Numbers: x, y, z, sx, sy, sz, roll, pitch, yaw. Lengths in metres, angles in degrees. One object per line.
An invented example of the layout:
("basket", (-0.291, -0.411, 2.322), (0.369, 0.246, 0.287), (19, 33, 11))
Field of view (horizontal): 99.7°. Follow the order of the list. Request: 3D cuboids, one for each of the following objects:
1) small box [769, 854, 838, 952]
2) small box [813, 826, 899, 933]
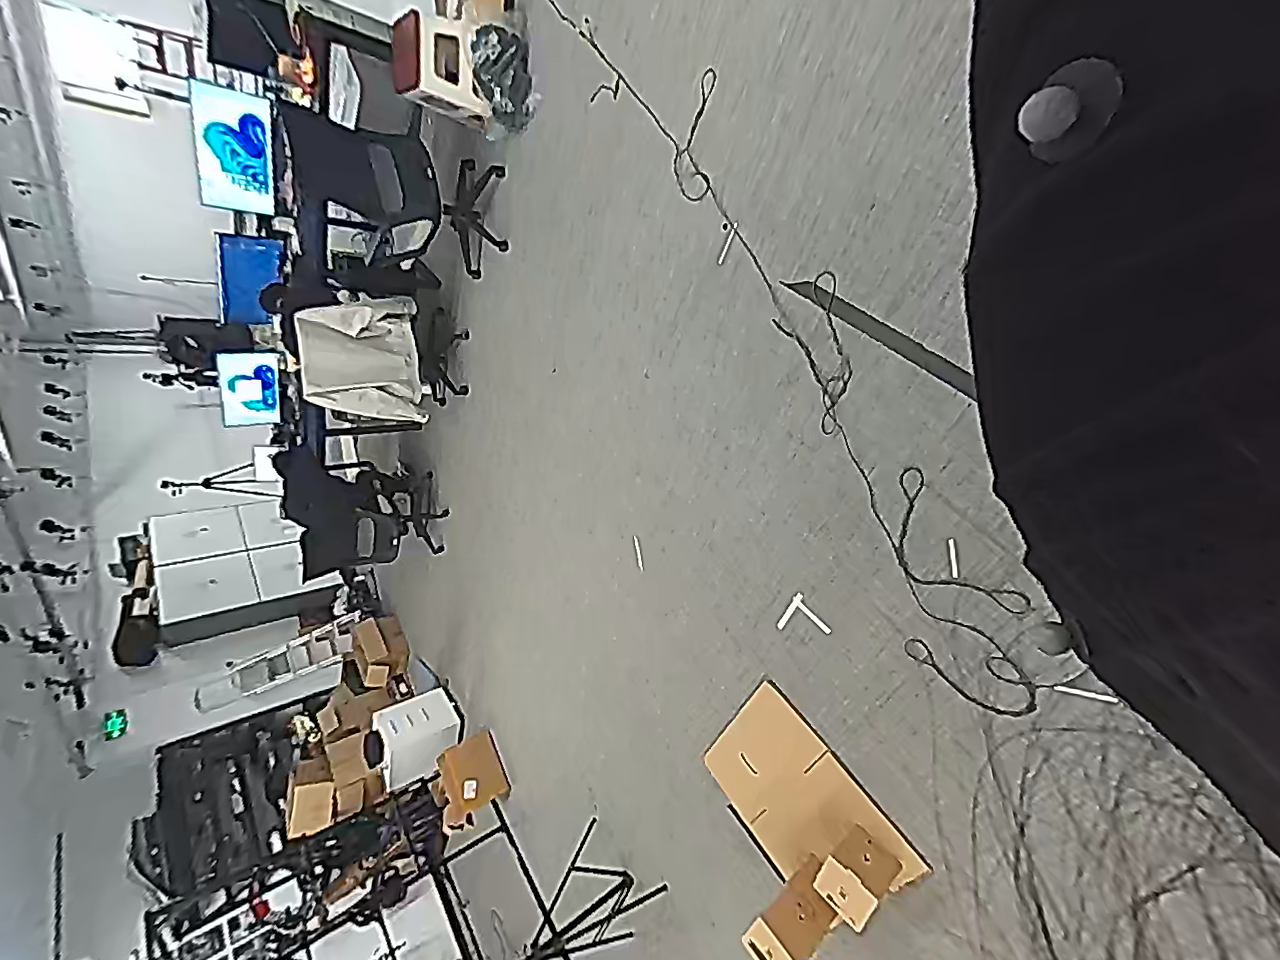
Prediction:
("small box", (0.579, 1.442, 1.850), (0.168, 0.176, 0.179), (37, 124, 37))
("small box", (0.678, 1.235, 1.687), (0.168, 0.176, 0.179), (33, 121, 40))
